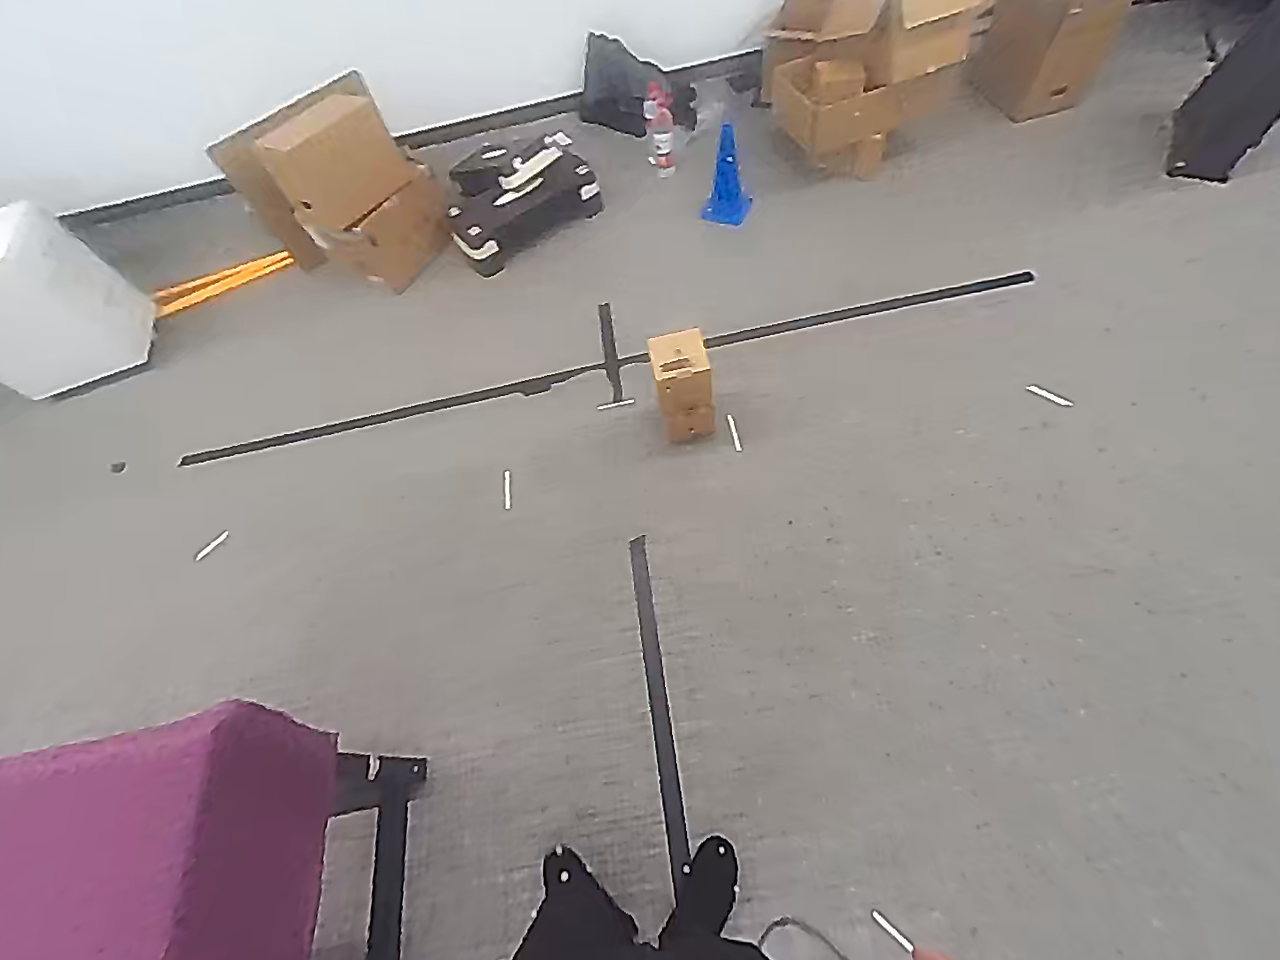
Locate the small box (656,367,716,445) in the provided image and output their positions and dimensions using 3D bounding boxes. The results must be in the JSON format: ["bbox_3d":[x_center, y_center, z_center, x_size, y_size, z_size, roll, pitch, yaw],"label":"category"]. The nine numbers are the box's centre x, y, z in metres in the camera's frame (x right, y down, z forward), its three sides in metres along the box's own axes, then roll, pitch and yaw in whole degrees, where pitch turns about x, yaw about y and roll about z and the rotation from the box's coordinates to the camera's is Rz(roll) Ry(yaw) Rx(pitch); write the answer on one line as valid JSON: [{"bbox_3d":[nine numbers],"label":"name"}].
[{"bbox_3d":[0.156,-0.247,1.830,0.168,0.176,0.179,-14,60,1],"label":"small box"}]
